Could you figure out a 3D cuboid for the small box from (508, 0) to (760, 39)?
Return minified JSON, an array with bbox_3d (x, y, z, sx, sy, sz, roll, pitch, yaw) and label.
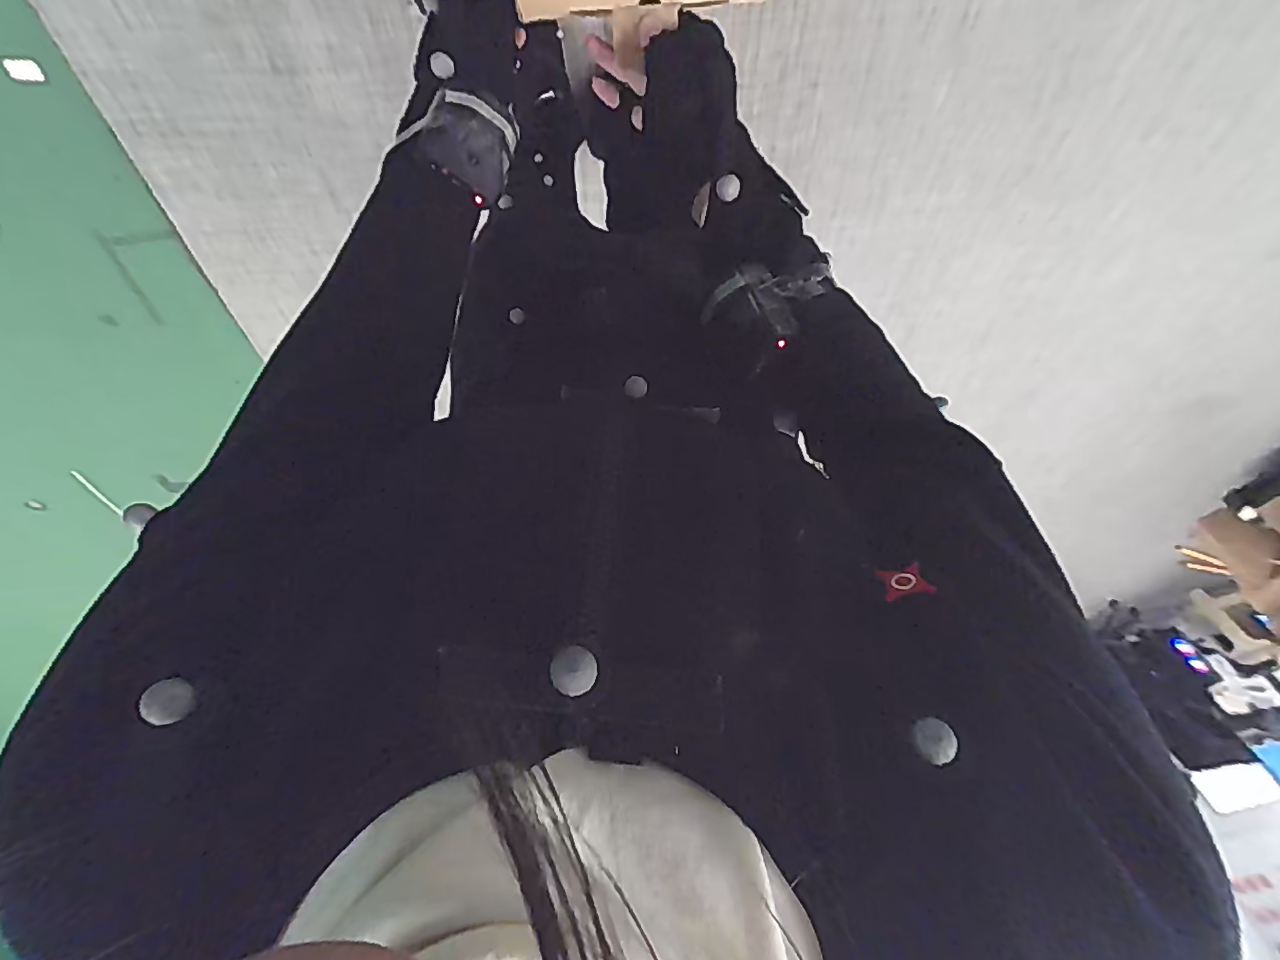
[{"bbox_3d":[-0.015,-0.411,0.331,0.168,0.176,0.179,-9,145,-4],"label":"small box"}]
